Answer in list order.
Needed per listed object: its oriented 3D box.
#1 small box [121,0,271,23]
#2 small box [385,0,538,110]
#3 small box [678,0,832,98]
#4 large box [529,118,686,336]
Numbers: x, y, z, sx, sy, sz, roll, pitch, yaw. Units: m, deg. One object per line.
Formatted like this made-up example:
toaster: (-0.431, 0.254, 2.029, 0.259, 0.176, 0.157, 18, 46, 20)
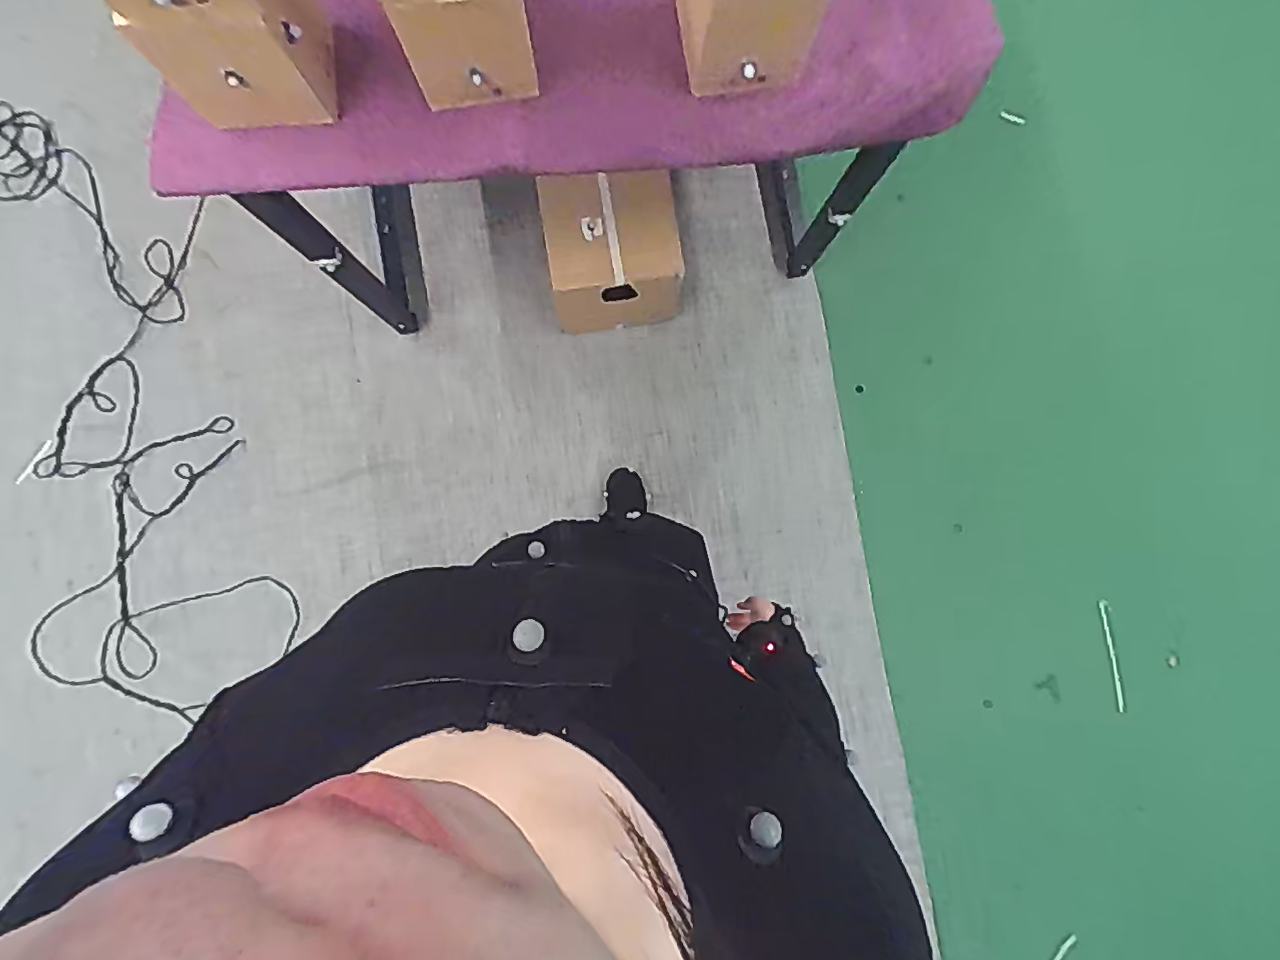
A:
small box: (-0.518, -0.629, 0.558, 0.168, 0.176, 0.179, -6, 86, -2)
small box: (-0.242, -0.654, 0.737, 0.168, 0.176, 0.179, -10, 86, -3)
small box: (0.151, -0.685, 0.758, 0.168, 0.176, 0.179, -9, 87, -3)
large box: (-0.084, -0.634, 1.408, 0.320, 0.320, 0.408, -9, 88, -3)
